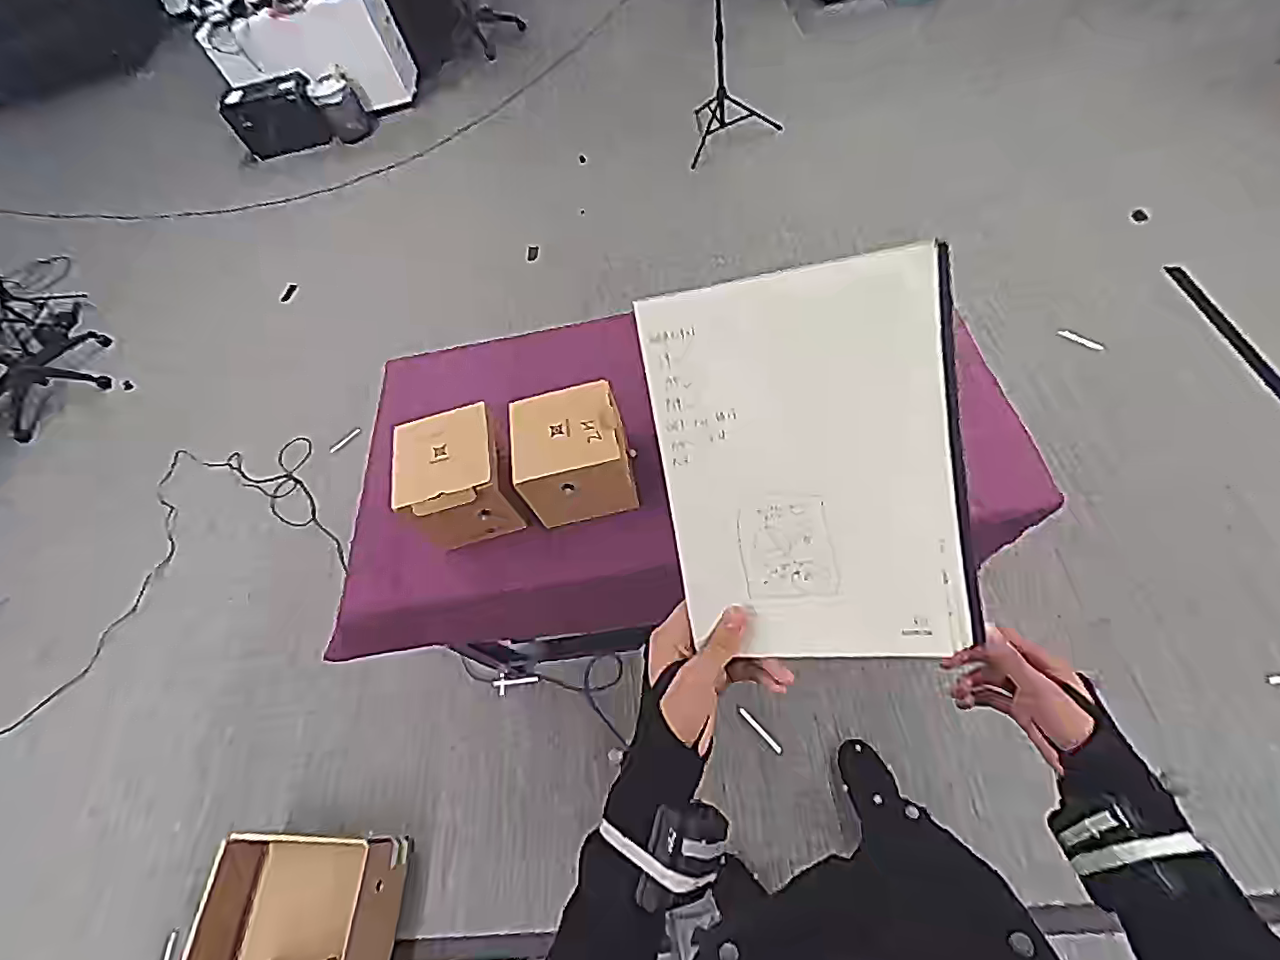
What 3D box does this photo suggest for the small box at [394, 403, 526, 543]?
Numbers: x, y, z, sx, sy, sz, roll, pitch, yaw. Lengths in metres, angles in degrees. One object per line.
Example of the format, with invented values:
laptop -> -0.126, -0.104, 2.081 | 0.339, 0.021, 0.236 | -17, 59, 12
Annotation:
small box -> -0.313, -0.003, 0.960 | 0.168, 0.176, 0.179 | -16, 58, 2

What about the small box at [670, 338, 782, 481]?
small box -> 0.147, -0.110, 0.924 | 0.168, 0.176, 0.179 | -7, 59, 8
